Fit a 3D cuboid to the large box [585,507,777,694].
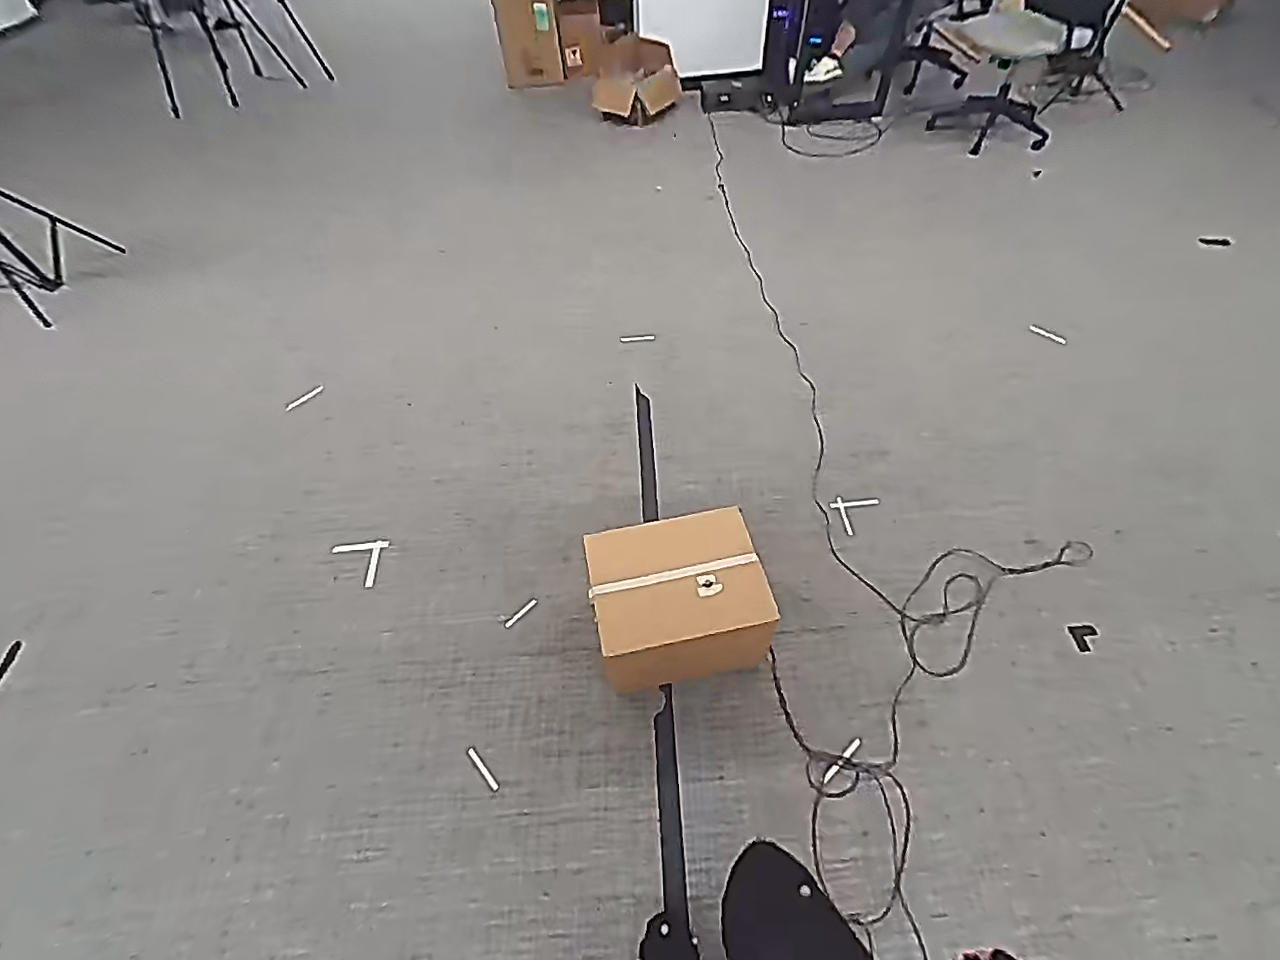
[{"bbox_3d":[0.091,0.316,1.397,0.408,0.320,0.320,-11,54,-5],"label":"large box"}]
